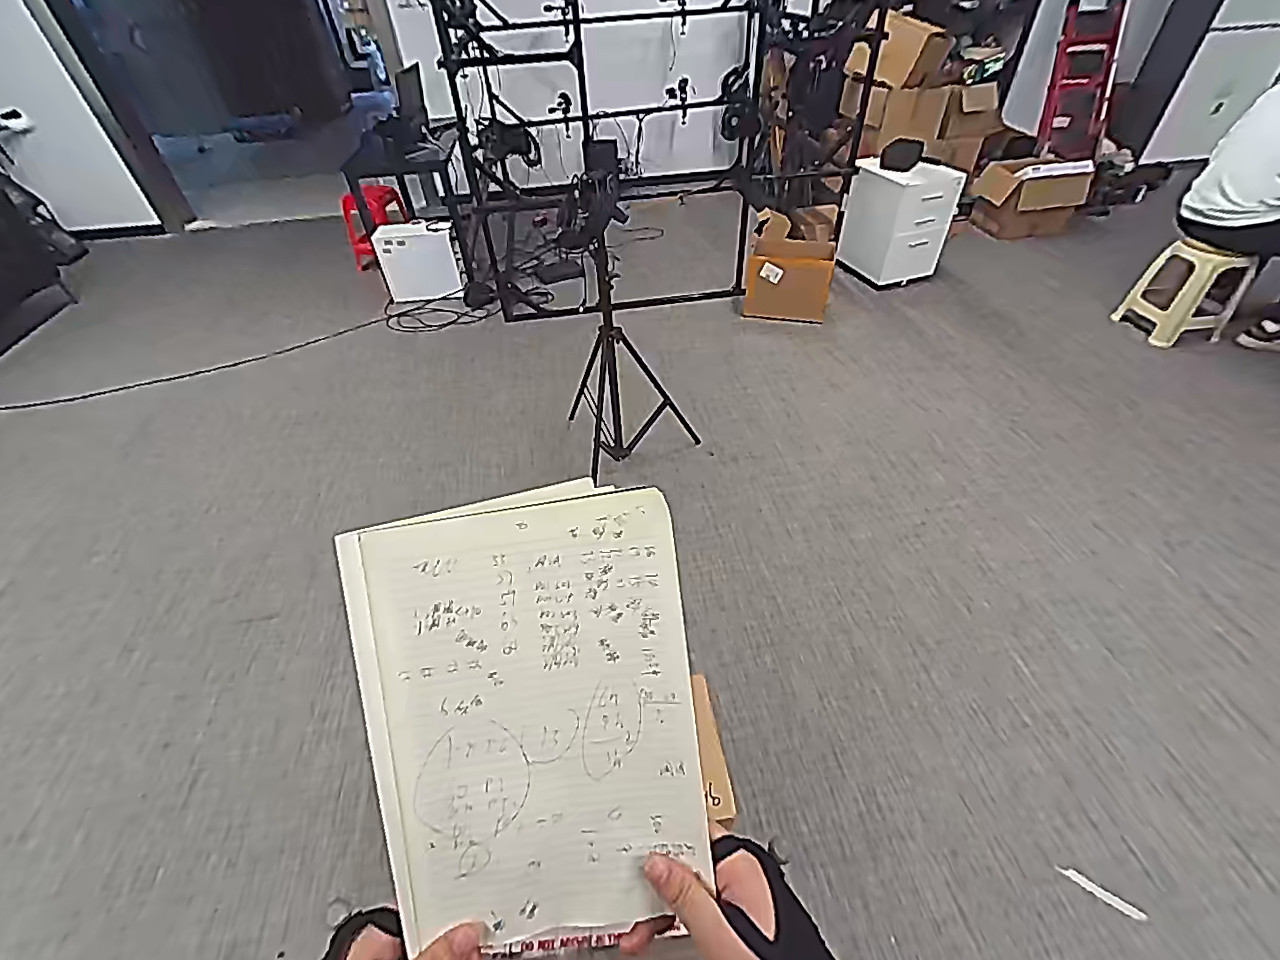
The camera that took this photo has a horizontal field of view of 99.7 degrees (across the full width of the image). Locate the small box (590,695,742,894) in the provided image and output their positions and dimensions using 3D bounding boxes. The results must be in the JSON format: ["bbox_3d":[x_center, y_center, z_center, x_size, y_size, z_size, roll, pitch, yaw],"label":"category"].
[{"bbox_3d":[0.023,0.415,0.718,0.168,0.176,0.179,-6,44,-6],"label":"small box"}]

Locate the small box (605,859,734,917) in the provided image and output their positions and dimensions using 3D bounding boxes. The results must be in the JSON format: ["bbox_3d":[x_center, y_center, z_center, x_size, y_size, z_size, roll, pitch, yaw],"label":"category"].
[{"bbox_3d":[0.028,0.539,0.826,0.179,0.176,0.168,-8,45,-7],"label":"small box"}]
